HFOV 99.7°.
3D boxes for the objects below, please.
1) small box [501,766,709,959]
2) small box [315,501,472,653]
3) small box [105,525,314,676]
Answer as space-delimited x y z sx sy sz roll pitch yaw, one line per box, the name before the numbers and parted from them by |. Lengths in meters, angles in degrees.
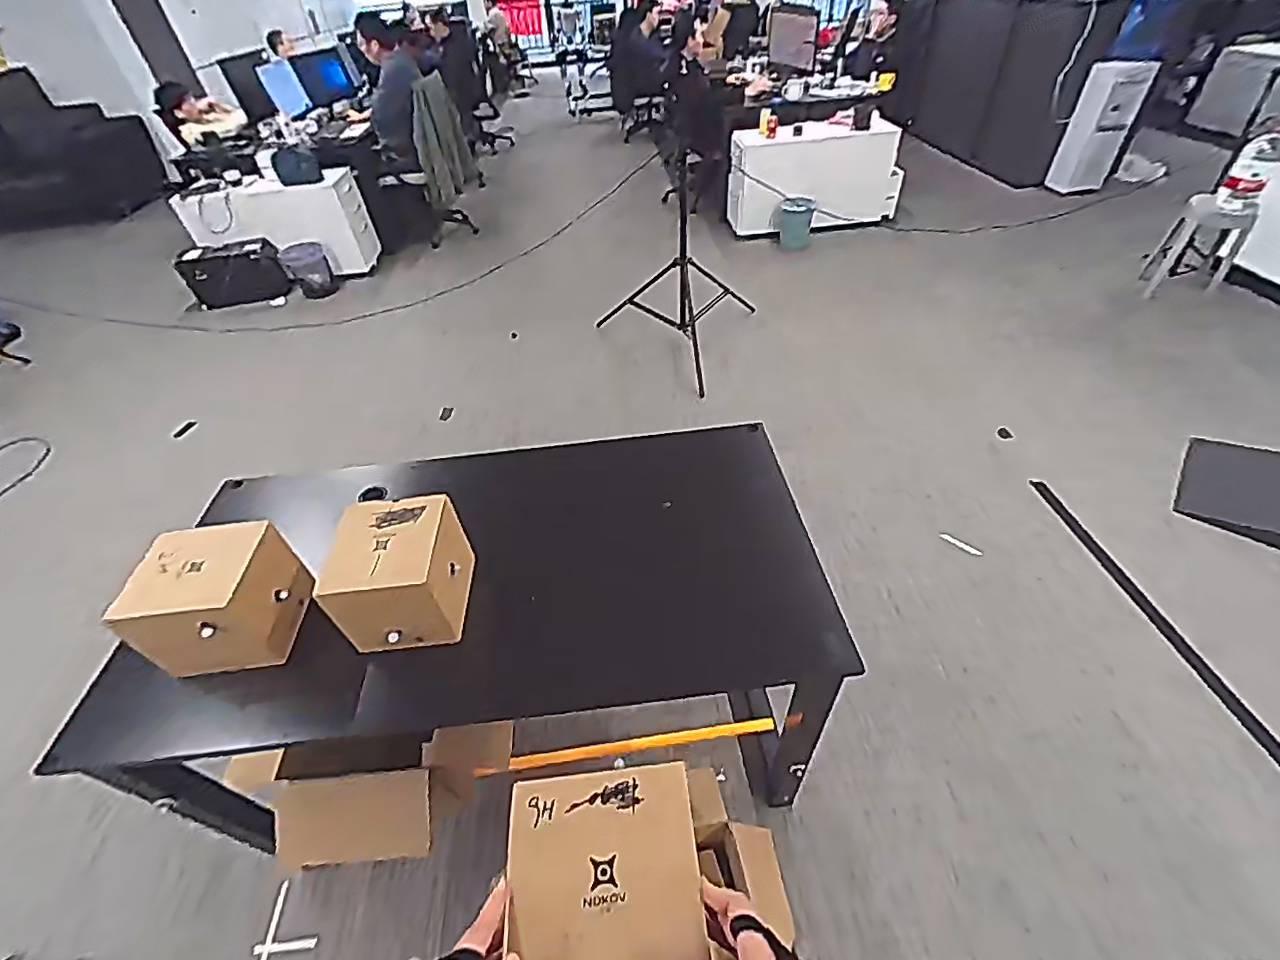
small box | -0.025 0.395 0.514 0.168 0.176 0.179 -7 48 0
small box | -0.384 0.158 0.884 0.168 0.176 0.179 -6 44 -1
small box | -0.667 0.195 0.869 0.179 0.176 0.168 -7 43 -2
